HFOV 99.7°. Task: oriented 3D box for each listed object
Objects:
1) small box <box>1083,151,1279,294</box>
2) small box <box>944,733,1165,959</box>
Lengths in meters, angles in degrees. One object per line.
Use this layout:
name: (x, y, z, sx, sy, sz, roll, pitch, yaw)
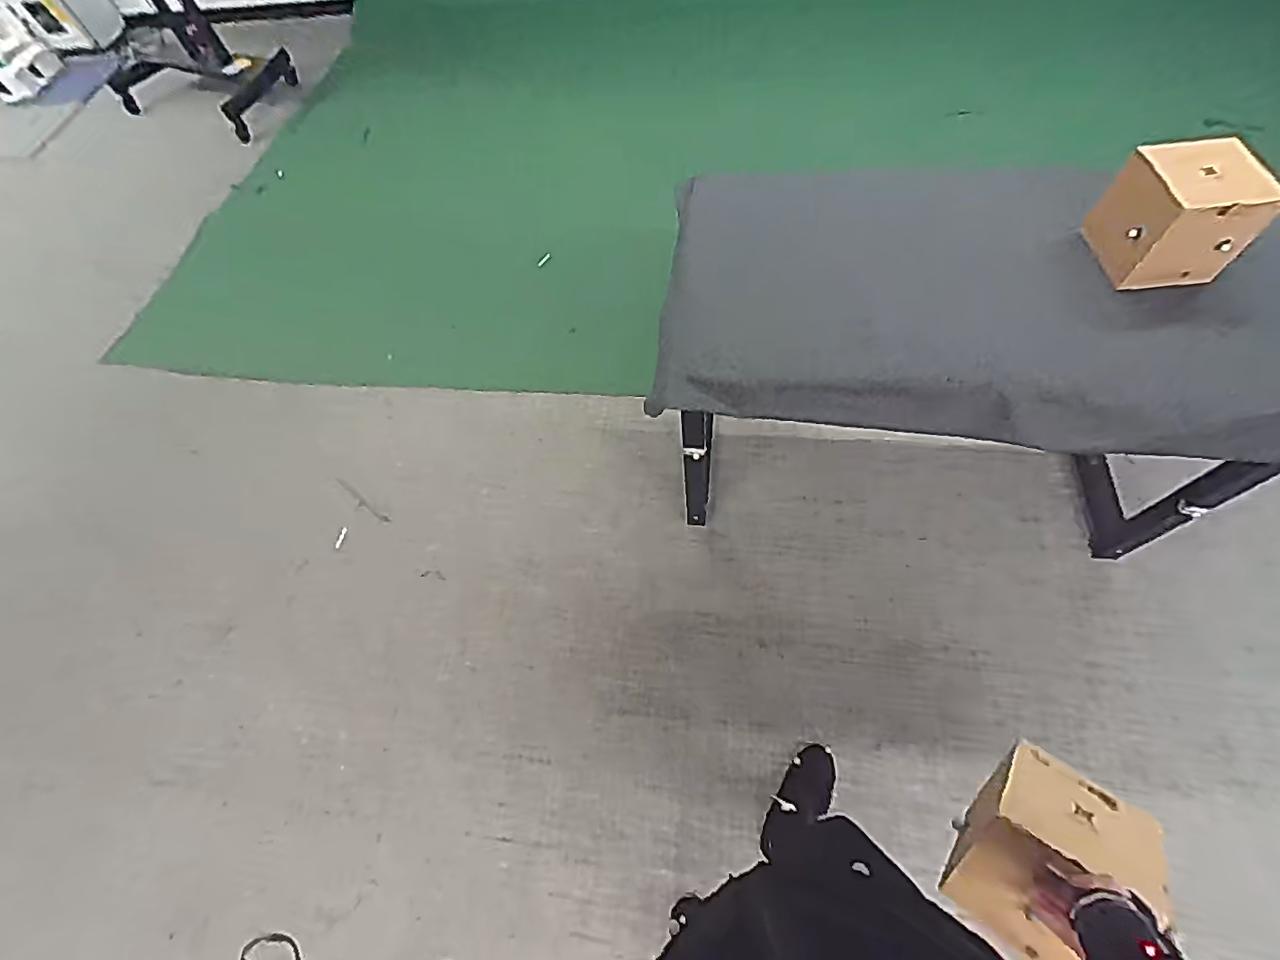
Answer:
small box: (0.962, -0.454, 0.974, 0.168, 0.176, 0.179, -3, 59, 3)
small box: (0.519, 0.478, 0.691, 0.168, 0.176, 0.179, 31, 30, 33)
